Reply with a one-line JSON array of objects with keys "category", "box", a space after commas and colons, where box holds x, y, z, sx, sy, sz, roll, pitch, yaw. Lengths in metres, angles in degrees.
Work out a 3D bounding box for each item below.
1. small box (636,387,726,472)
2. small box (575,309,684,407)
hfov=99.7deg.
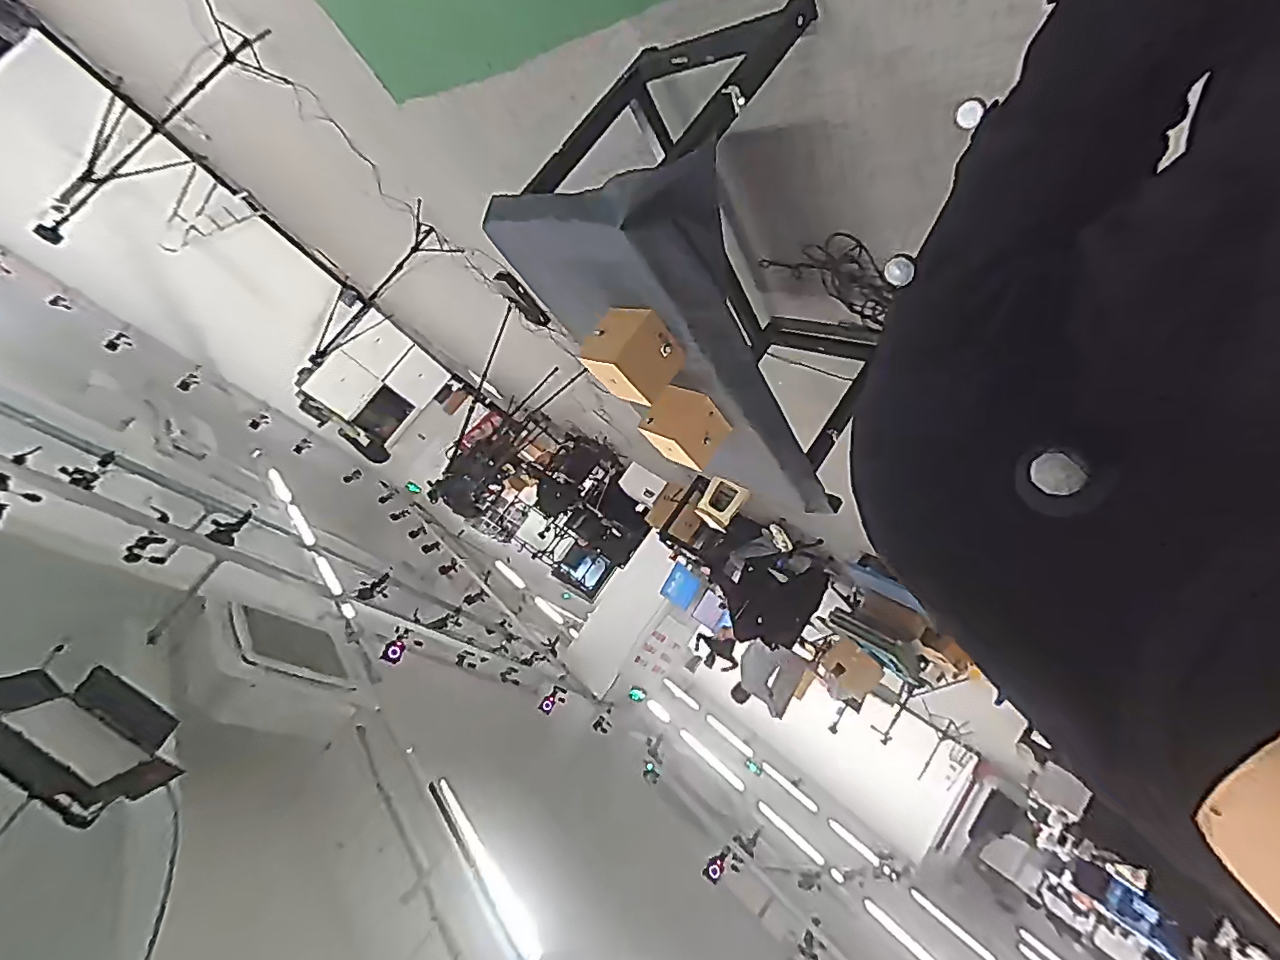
[{"category": "small box", "box": [0.129, -0.154, 1.596, 0.179, 0.176, 0.168, 25, 167, 49]}, {"category": "small box", "box": [-0.024, -0.310, 1.355, 0.179, 0.176, 0.168, 23, 166, 50]}]
